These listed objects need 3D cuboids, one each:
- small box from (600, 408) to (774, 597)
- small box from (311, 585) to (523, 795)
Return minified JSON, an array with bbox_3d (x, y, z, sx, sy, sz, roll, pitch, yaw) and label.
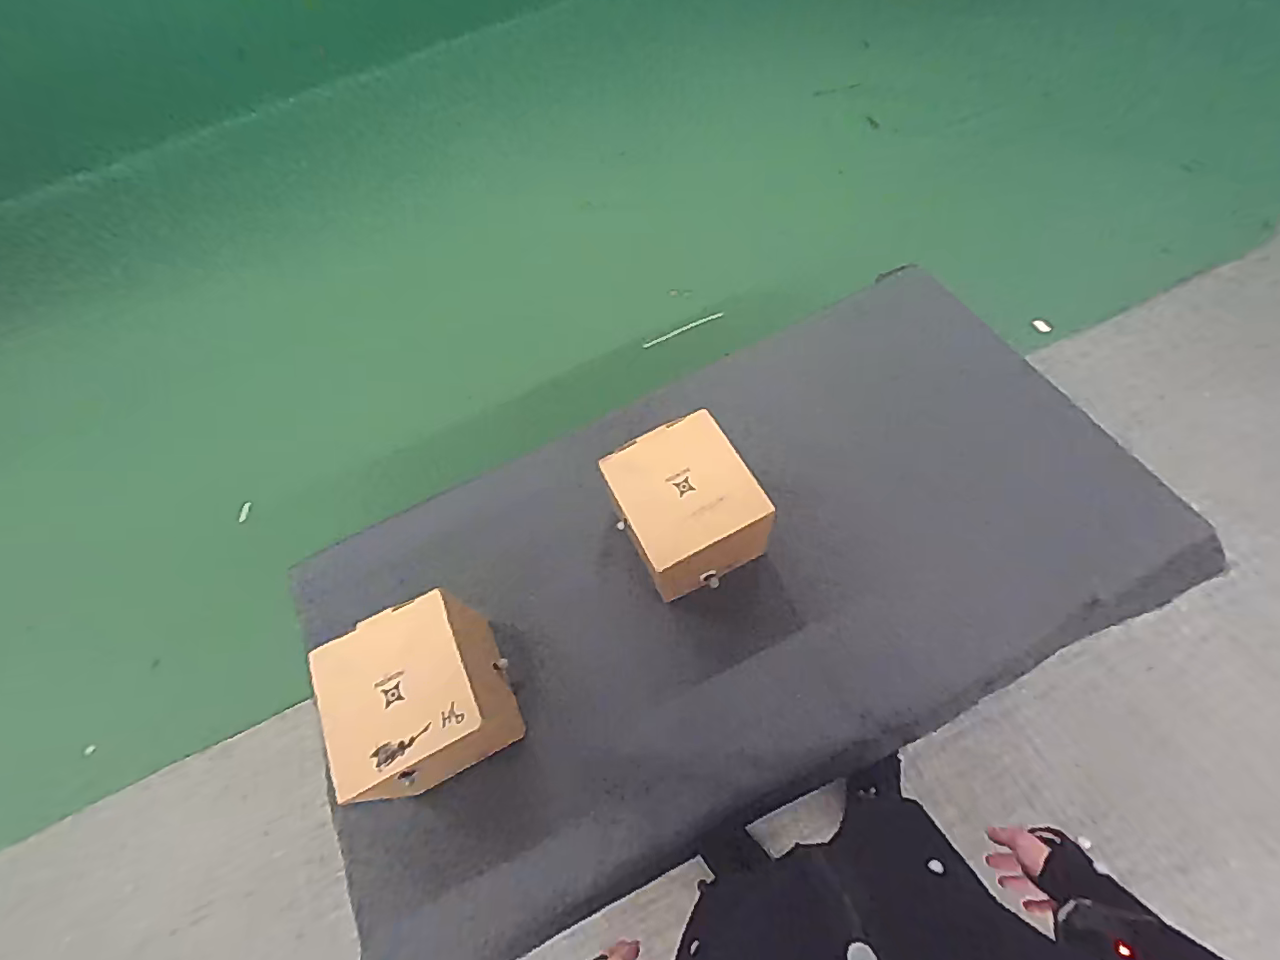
[{"bbox_3d":[0.062,0.038,0.753,0.168,0.176,0.179,-27,65,-6],"label":"small box"},{"bbox_3d":[-0.269,0.264,0.676,0.168,0.176,0.179,-27,63,-6],"label":"small box"}]
